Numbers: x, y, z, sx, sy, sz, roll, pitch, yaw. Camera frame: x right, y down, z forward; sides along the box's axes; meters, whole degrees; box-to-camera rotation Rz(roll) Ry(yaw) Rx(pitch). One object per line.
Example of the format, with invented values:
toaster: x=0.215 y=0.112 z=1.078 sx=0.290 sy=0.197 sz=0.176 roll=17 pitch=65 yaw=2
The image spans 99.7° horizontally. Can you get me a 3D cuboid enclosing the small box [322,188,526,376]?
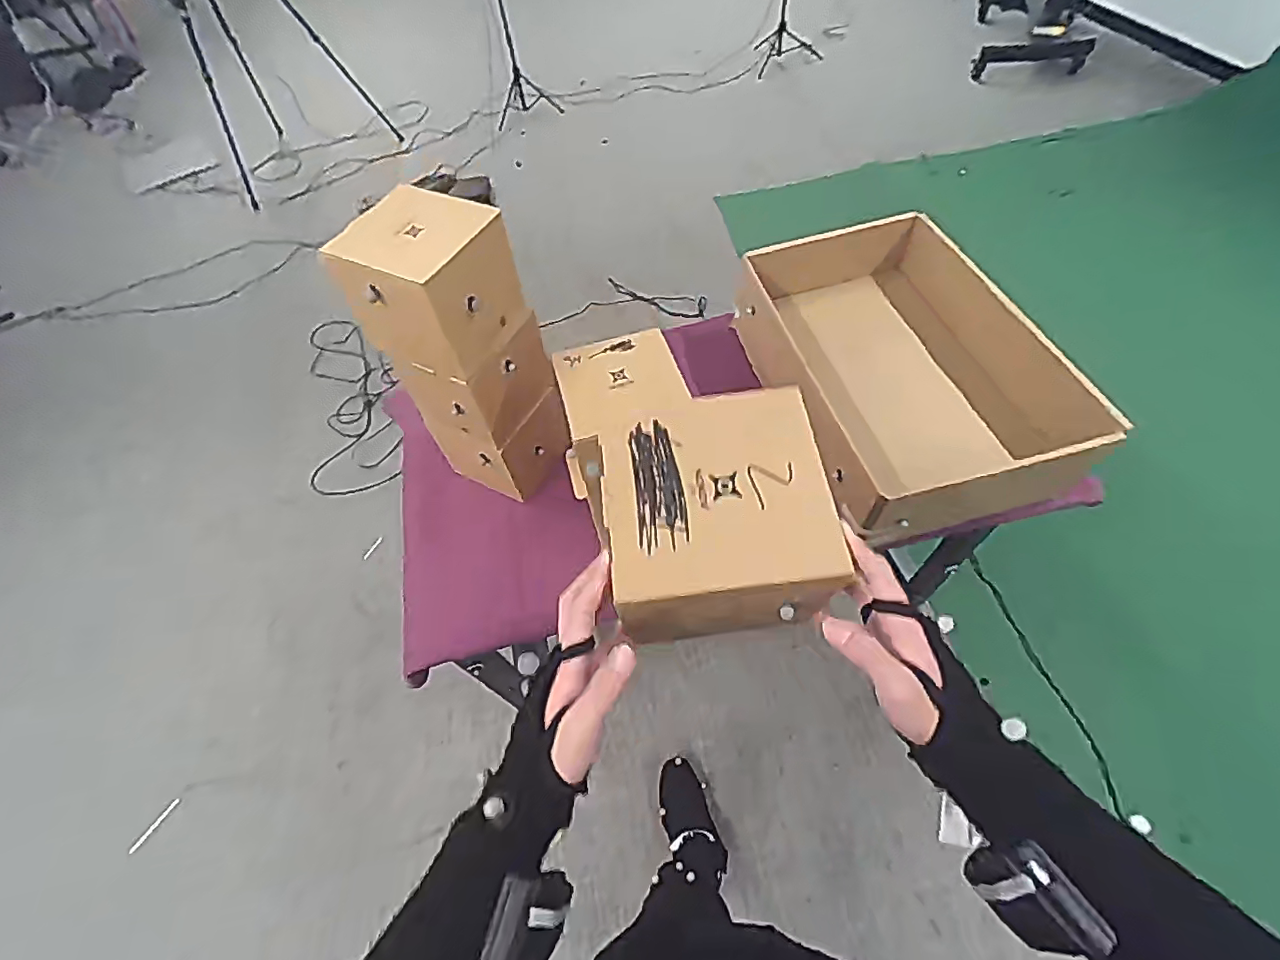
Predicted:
small box: x=-0.284 y=-0.271 z=0.759 sx=0.179 sy=0.176 sz=0.168 roll=22 pitch=61 yaw=17

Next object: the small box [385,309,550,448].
small box: x=-0.269 y=-0.181 z=0.893 sx=0.168 sy=0.176 sz=0.179 roll=23 pitch=61 yaw=17

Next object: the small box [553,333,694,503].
small box: x=-0.021 y=-0.082 z=0.804 sx=0.168 sy=0.176 sz=0.179 roll=-14 pitch=56 yaw=-5

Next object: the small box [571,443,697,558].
small box: x=-0.006 y=0.014 z=0.935 sx=0.179 sy=0.176 sz=0.168 roll=-15 pitch=55 yaw=-6

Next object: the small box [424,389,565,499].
small box: x=-0.262 y=-0.086 z=1.025 sx=0.179 sy=0.176 sz=0.168 roll=23 pitch=60 yaw=18
